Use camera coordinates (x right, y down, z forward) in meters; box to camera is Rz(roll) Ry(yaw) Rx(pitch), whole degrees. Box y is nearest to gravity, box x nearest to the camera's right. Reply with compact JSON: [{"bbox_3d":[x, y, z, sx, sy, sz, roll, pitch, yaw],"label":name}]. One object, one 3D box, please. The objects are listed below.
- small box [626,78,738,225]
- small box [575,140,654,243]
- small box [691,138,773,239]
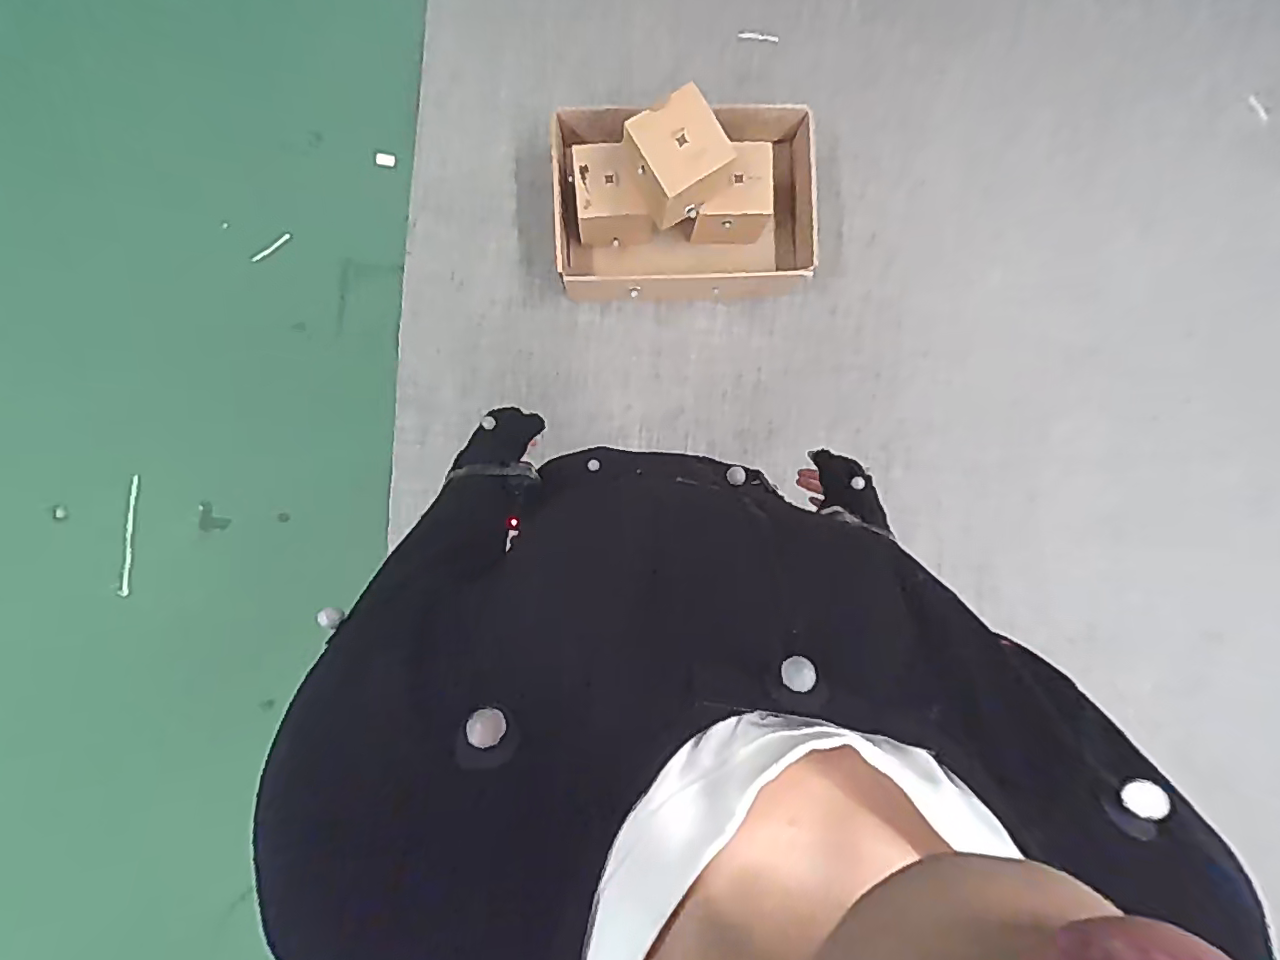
[{"bbox_3d":[0.079,-0.690,1.156,0.168,0.176,0.179,-33,94,-1],"label":"small box"},{"bbox_3d":[-0.064,-0.693,1.311,0.179,0.176,0.168,-5,91,-4],"label":"small box"},{"bbox_3d":[0.217,-0.705,1.321,0.179,0.176,0.168,-1,92,-2],"label":"small box"}]
